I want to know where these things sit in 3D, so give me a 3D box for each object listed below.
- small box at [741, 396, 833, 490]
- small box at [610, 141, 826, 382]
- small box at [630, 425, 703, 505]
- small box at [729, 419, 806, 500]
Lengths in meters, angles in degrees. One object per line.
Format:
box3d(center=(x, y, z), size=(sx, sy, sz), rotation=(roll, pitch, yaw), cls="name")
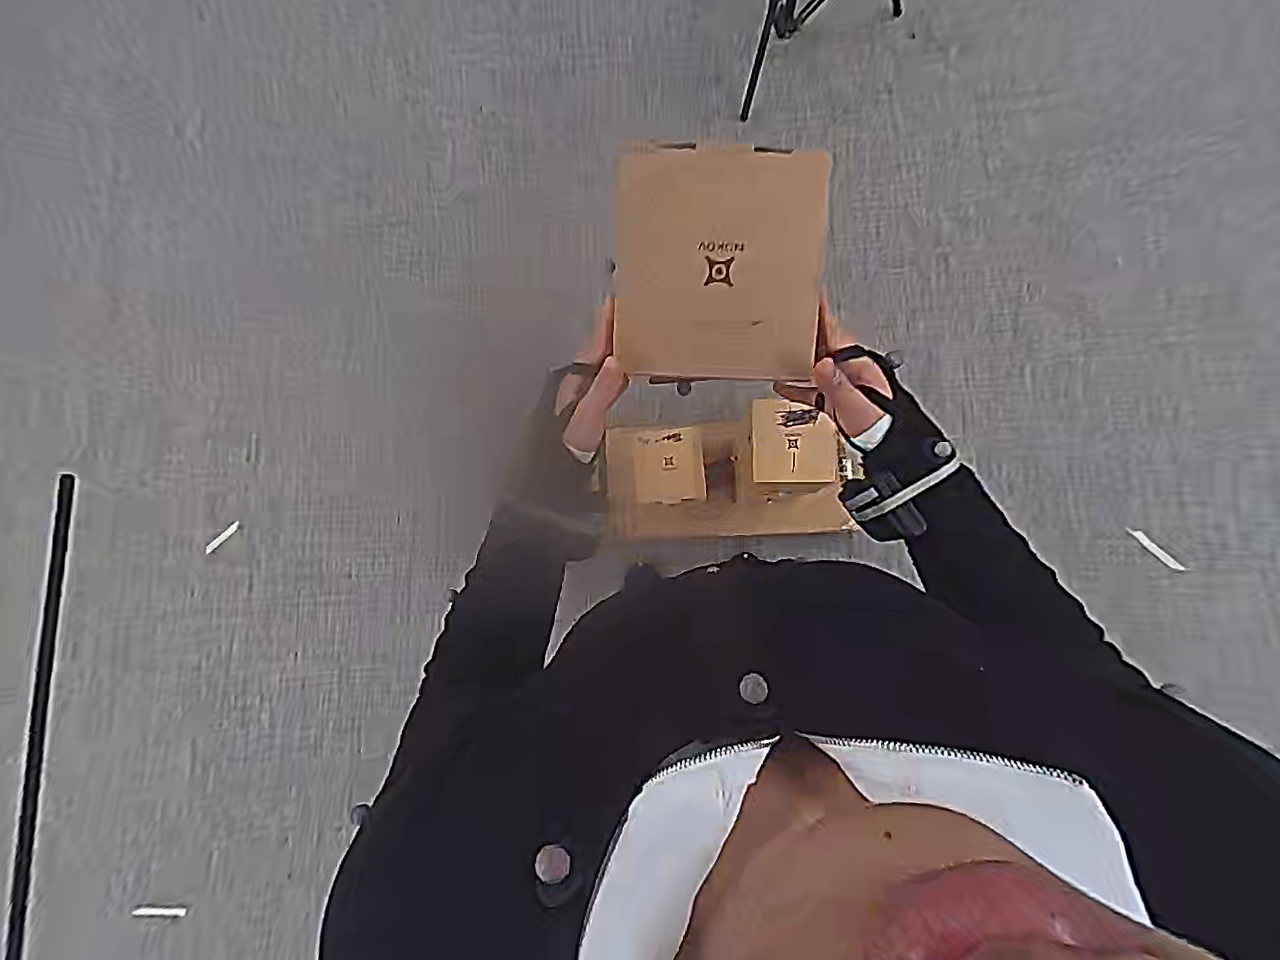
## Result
box3d(center=(0.313, -0.075, 1.178), size=(0.168, 0.176, 0.179), rotation=(0, 82, 4), cls="small box")
box3d(center=(0.059, -0.186, 0.510), size=(0.168, 0.176, 0.179), rotation=(2, 101, 0), cls="small box")
box3d(center=(0.068, -0.030, 1.353), size=(0.168, 0.176, 0.179), rotation=(-5, 82, 3), cls="small box")
box3d(center=(0.315, -0.050, 1.340), size=(0.168, 0.176, 0.179), rotation=(-4, 82, 4), cls="small box")
